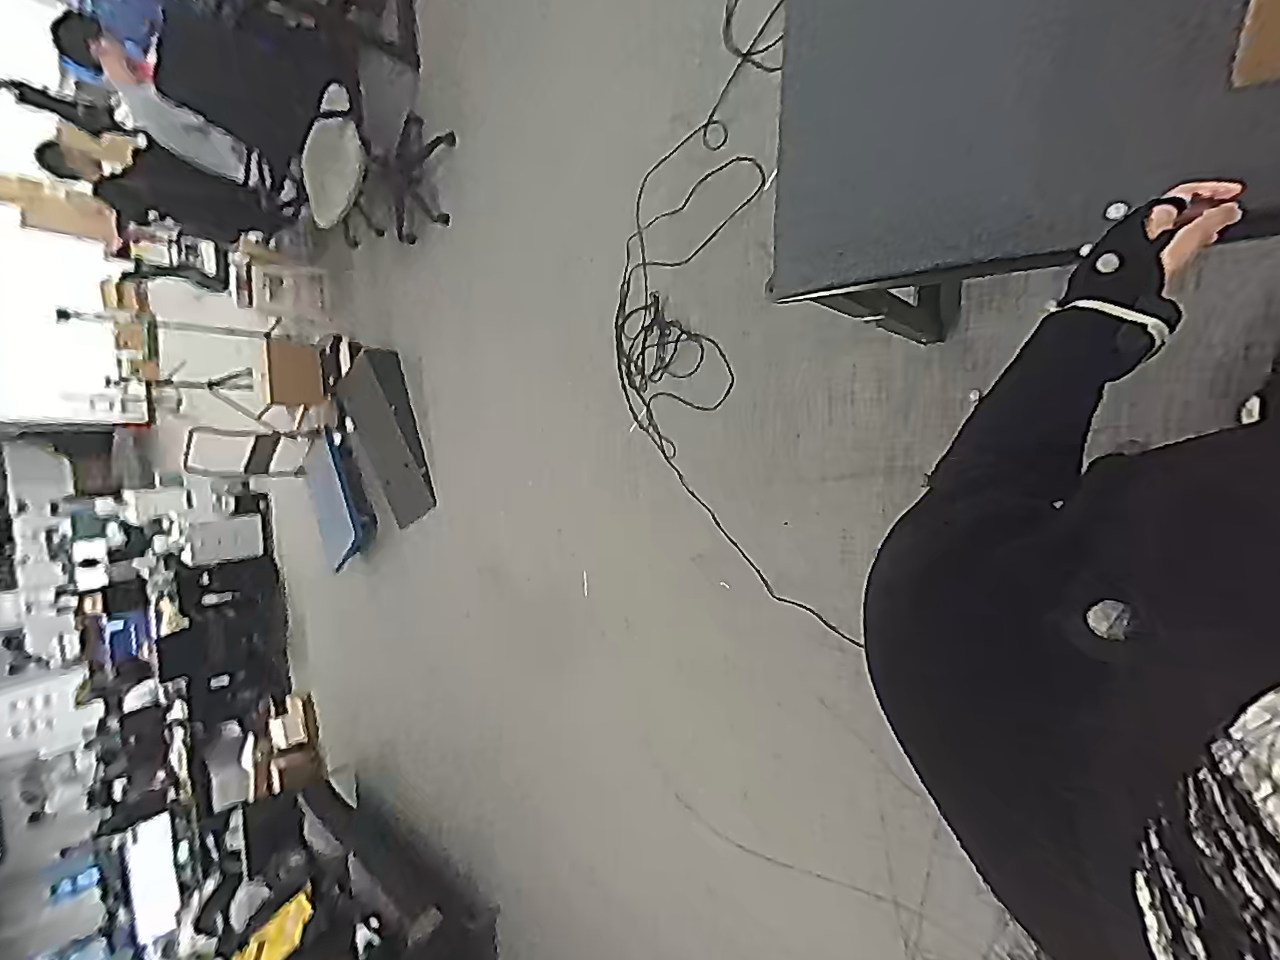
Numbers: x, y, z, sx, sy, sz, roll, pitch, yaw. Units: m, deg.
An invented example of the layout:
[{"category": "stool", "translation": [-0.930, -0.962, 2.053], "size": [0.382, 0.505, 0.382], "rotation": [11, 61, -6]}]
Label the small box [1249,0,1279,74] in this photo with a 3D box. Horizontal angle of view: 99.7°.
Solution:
[{"category": "small box", "translation": [0.574, -0.440, 0.378], "size": [0.168, 0.176, 0.179], "rotation": [13, 102, 41]}]
